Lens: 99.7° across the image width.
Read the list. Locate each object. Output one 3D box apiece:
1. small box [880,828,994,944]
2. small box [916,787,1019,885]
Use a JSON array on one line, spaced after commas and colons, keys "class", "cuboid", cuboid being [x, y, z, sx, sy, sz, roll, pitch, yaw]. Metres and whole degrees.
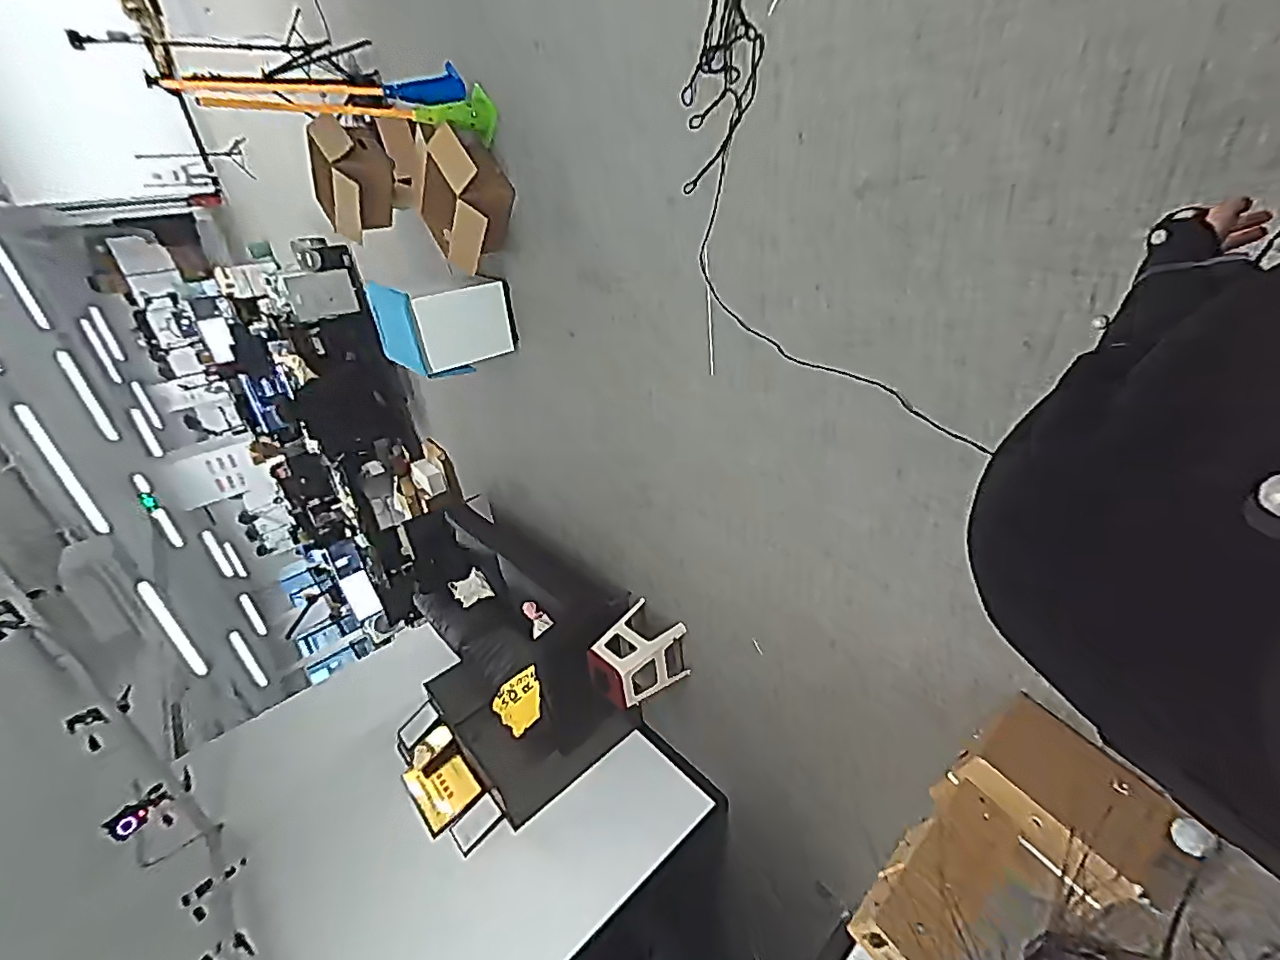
[{"class": "small box", "cuboid": [0.780, 1.058, 1.423, 0.179, 0.176, 0.168, 42, 142, 29]}, {"class": "small box", "cuboid": [0.908, 1.001, 1.505, 0.168, 0.176, 0.179, 41, 142, 30]}]
